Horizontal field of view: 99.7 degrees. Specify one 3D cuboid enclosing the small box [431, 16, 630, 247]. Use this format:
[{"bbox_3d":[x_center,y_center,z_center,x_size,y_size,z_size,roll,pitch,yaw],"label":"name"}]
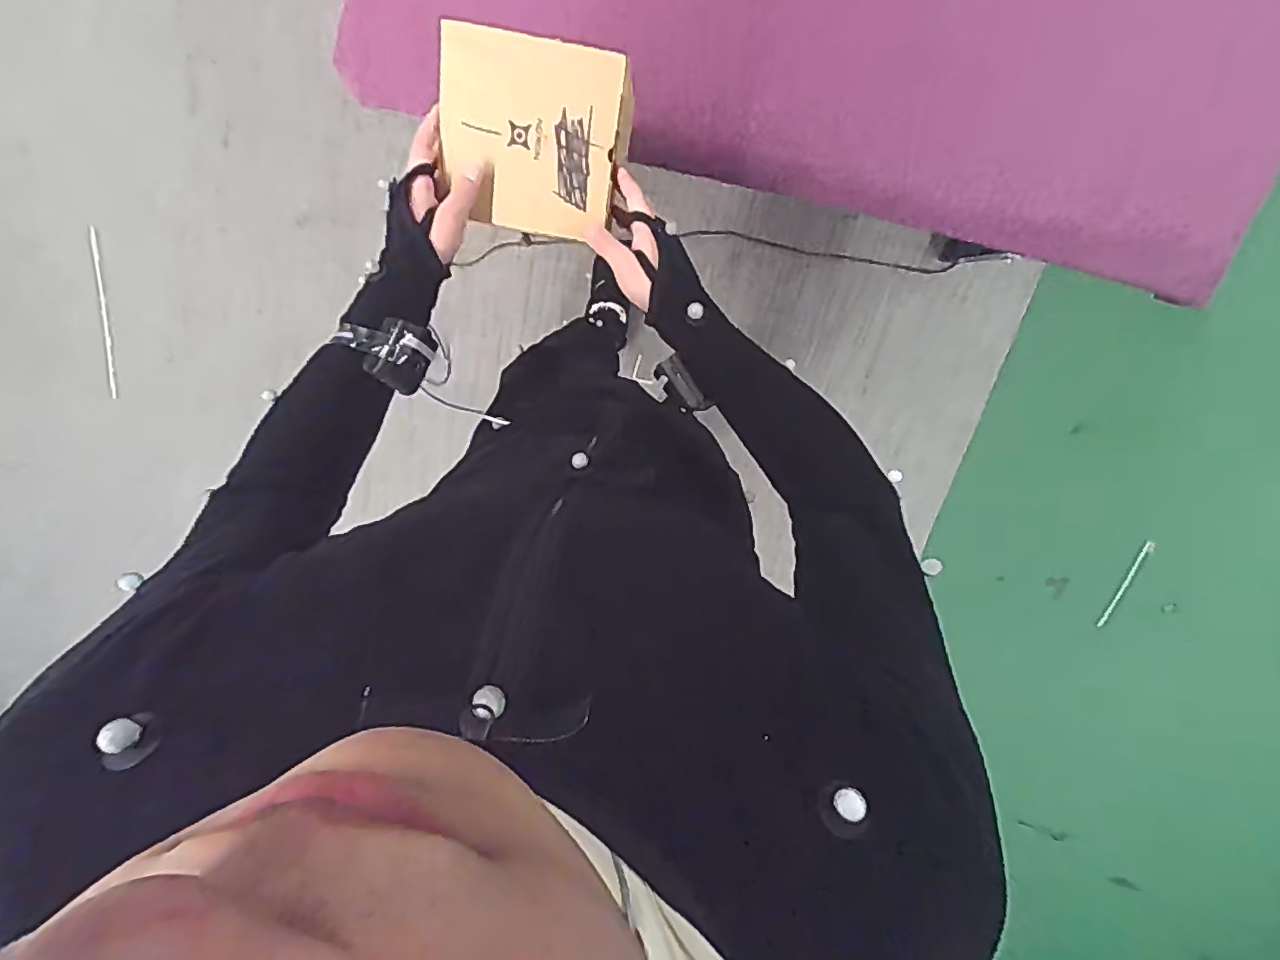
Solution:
[{"bbox_3d":[-0.110,-0.359,0.594,0.179,0.176,0.168,10,111,-2],"label":"small box"}]
